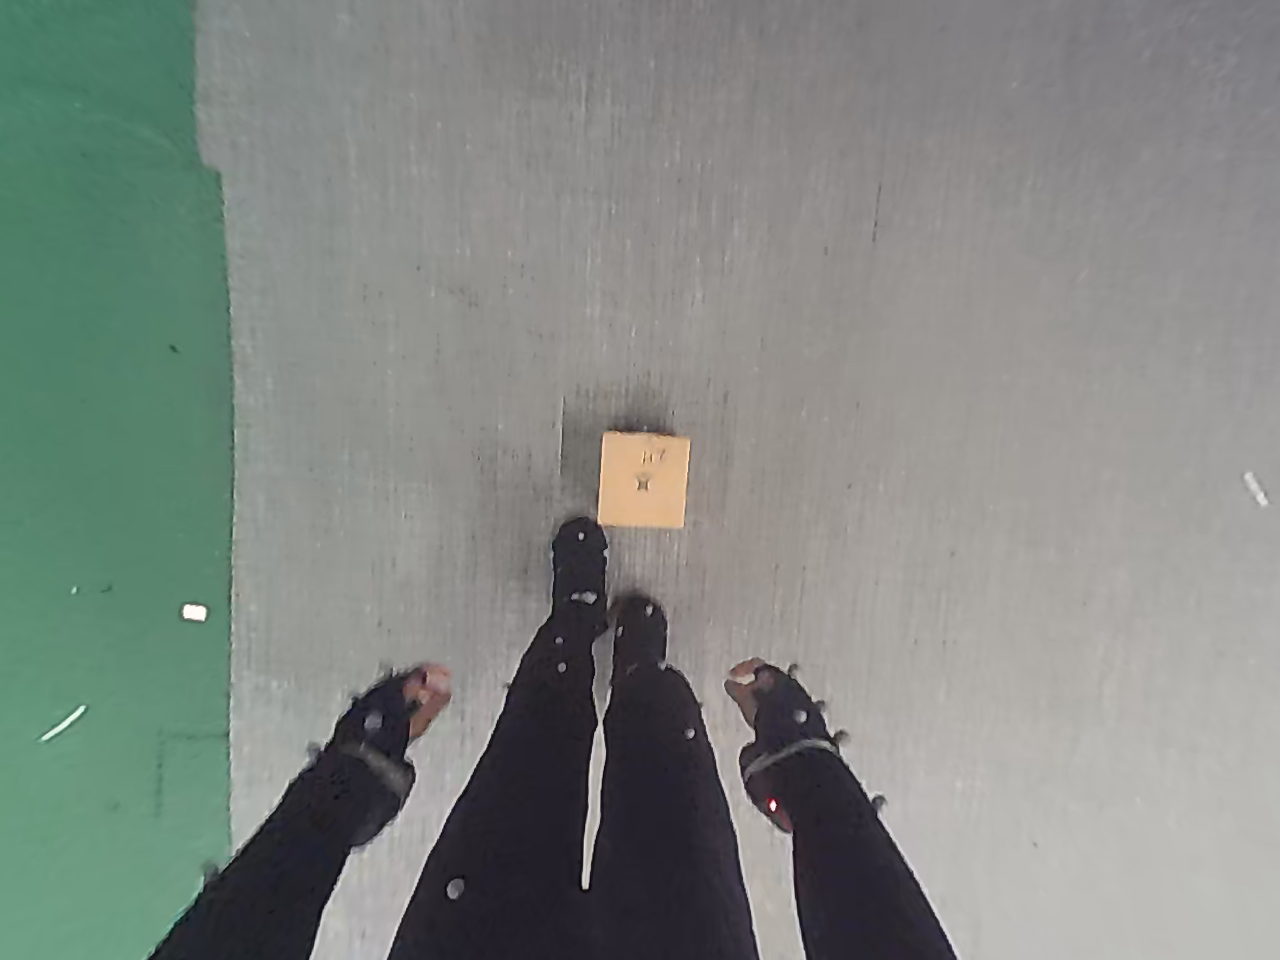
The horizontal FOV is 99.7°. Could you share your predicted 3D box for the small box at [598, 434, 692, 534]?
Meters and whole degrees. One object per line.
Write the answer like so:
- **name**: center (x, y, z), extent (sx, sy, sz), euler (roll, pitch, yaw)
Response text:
- **small box**: center (0.006, 0.002, 1.089), extent (0.168, 0.176, 0.179), euler (4, 96, -3)
